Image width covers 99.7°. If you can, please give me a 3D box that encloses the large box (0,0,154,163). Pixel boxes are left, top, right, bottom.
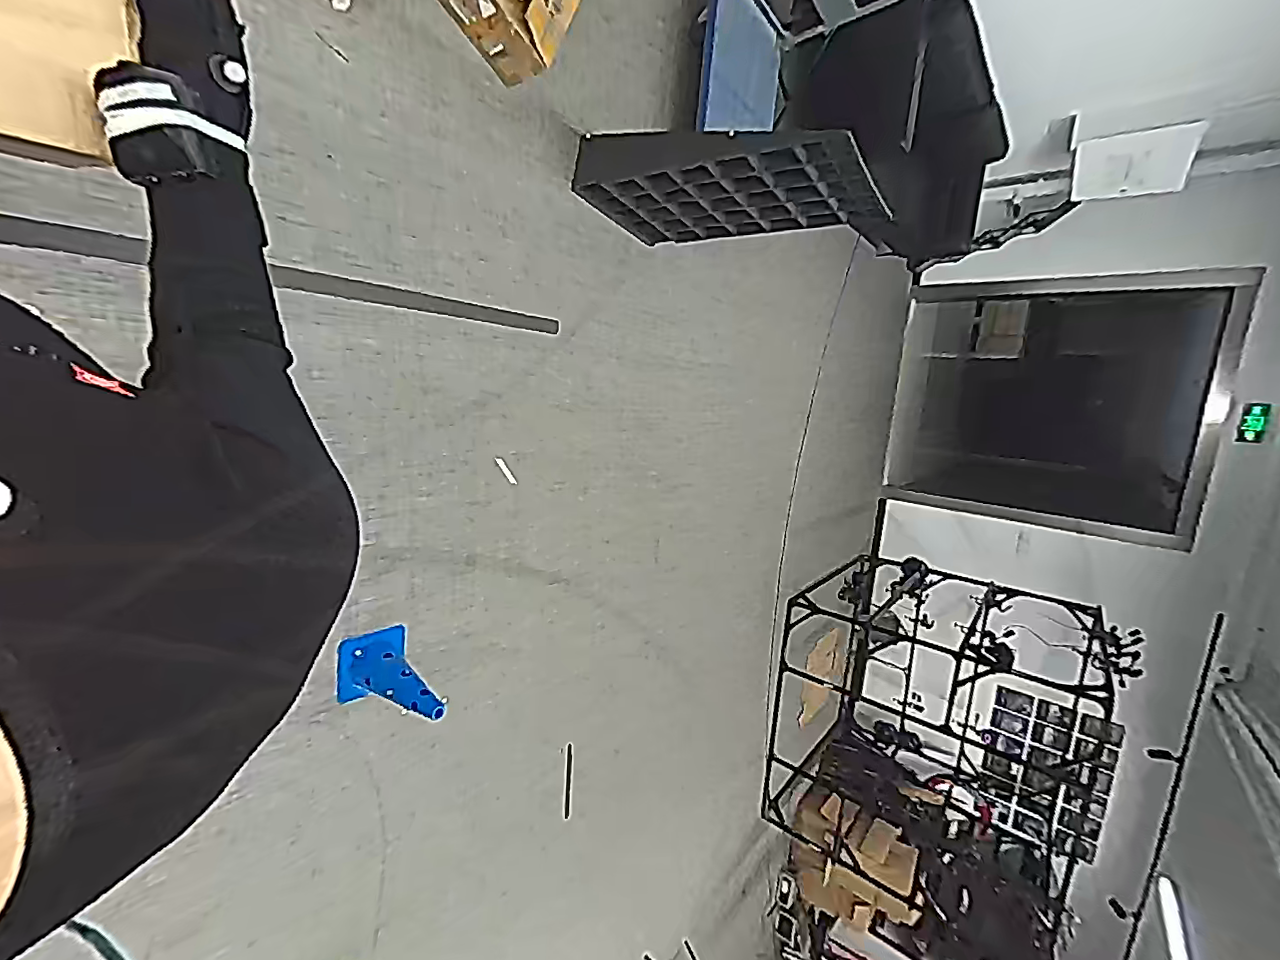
[{"bbox_3d":[-0.580,-0.404,0.293,0.408,0.320,0.320,-12,118,-52],"label":"large box"}]

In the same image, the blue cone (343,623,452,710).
[{"bbox_3d":[-0.672,0.570,1.543,0.192,0.380,0.193,-3,102,-54],"label":"blue cone"}]
